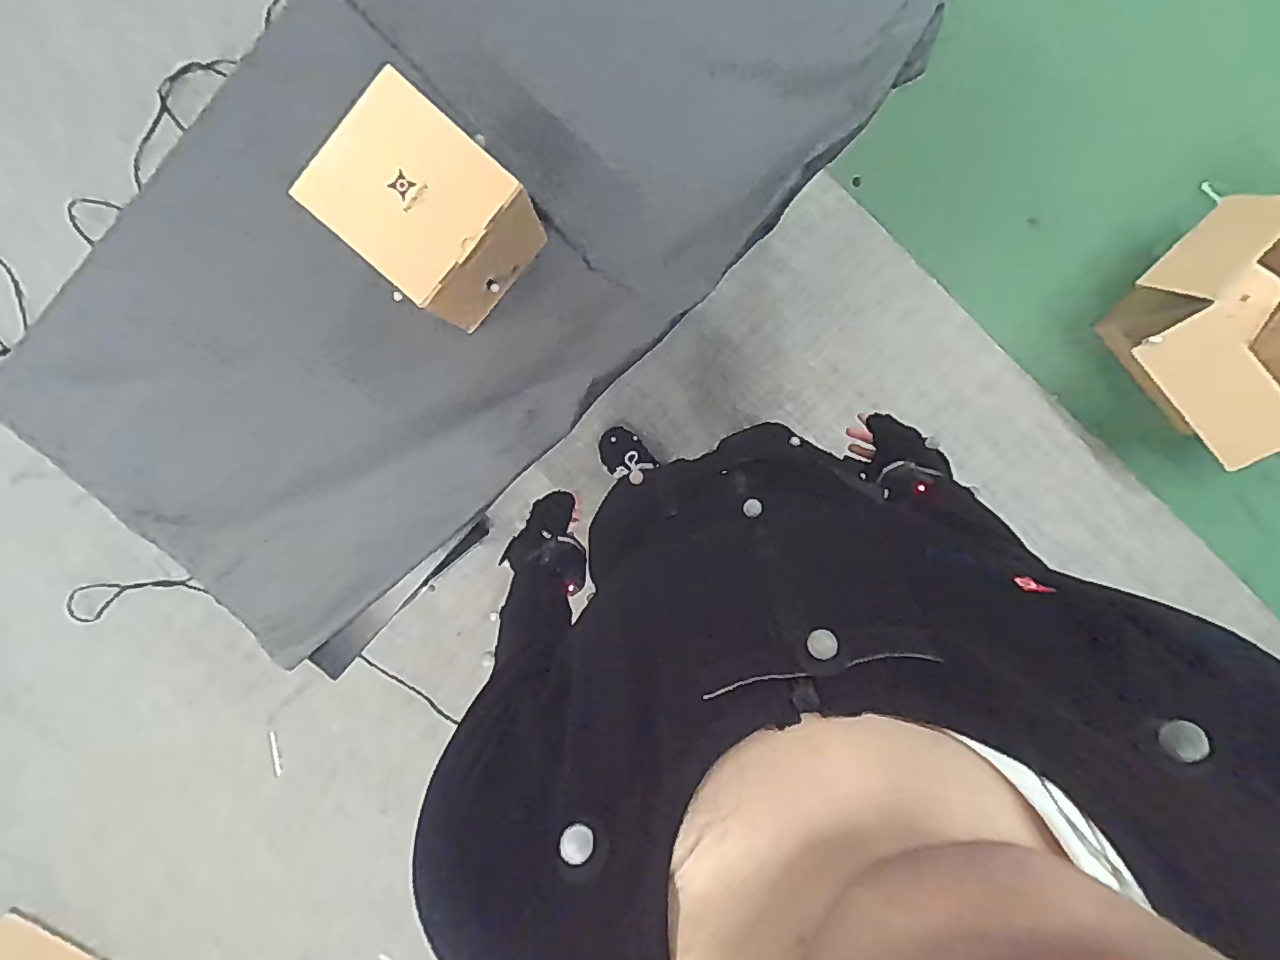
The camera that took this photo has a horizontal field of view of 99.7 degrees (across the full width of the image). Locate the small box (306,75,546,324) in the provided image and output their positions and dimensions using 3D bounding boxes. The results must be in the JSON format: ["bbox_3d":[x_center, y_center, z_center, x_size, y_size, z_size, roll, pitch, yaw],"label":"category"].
[{"bbox_3d":[-0.237,-0.311,0.647,0.179,0.176,0.168,41,94,-5],"label":"small box"}]
